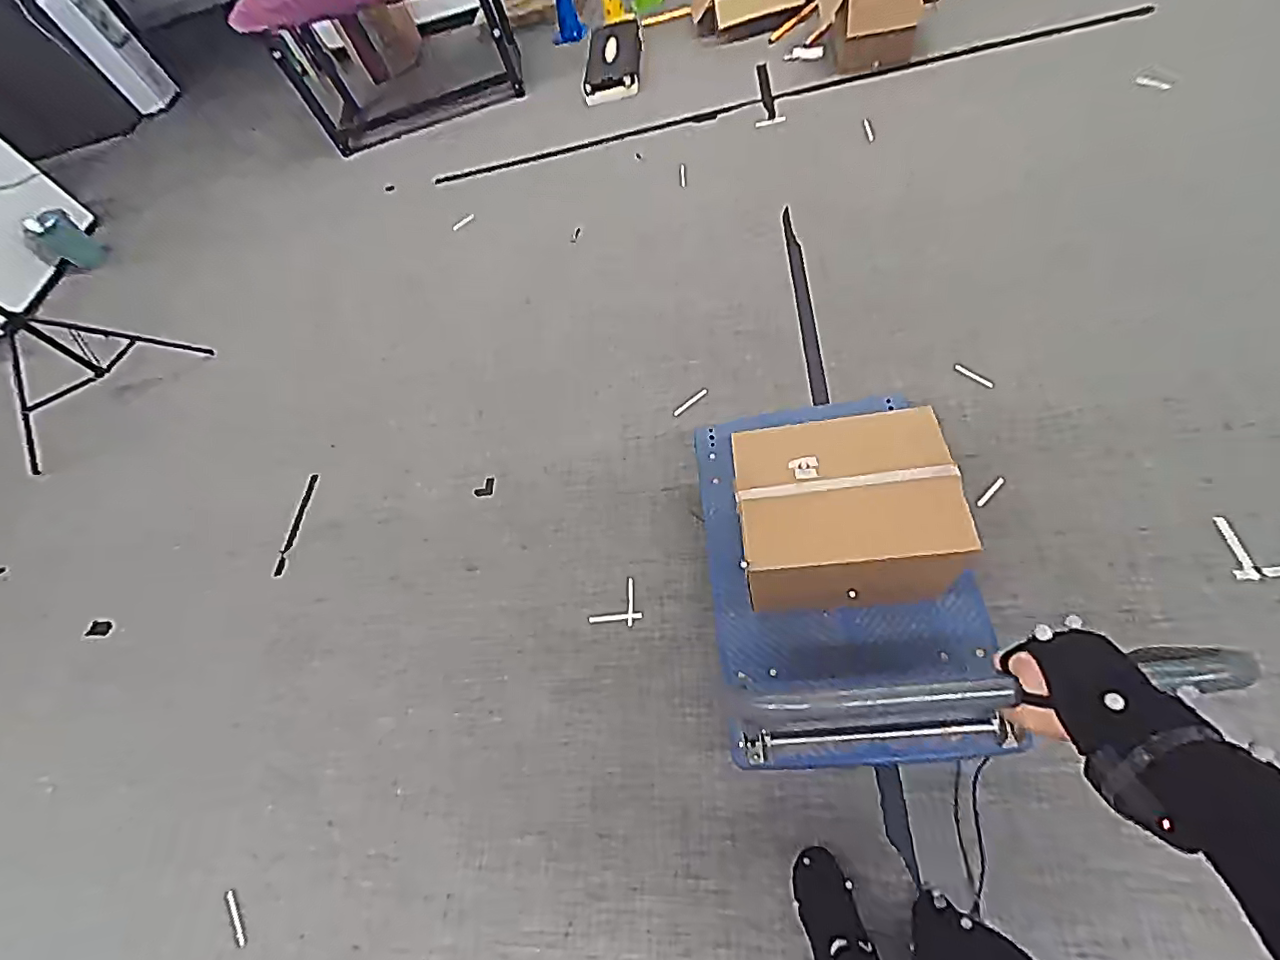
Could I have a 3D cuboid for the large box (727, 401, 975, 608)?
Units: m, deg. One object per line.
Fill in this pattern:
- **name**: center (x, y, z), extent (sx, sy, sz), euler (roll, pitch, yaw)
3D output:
- **large box**: center (0.419, 0.072, 1.167), extent (0.408, 0.320, 0.320), euler (-8, 59, 11)
